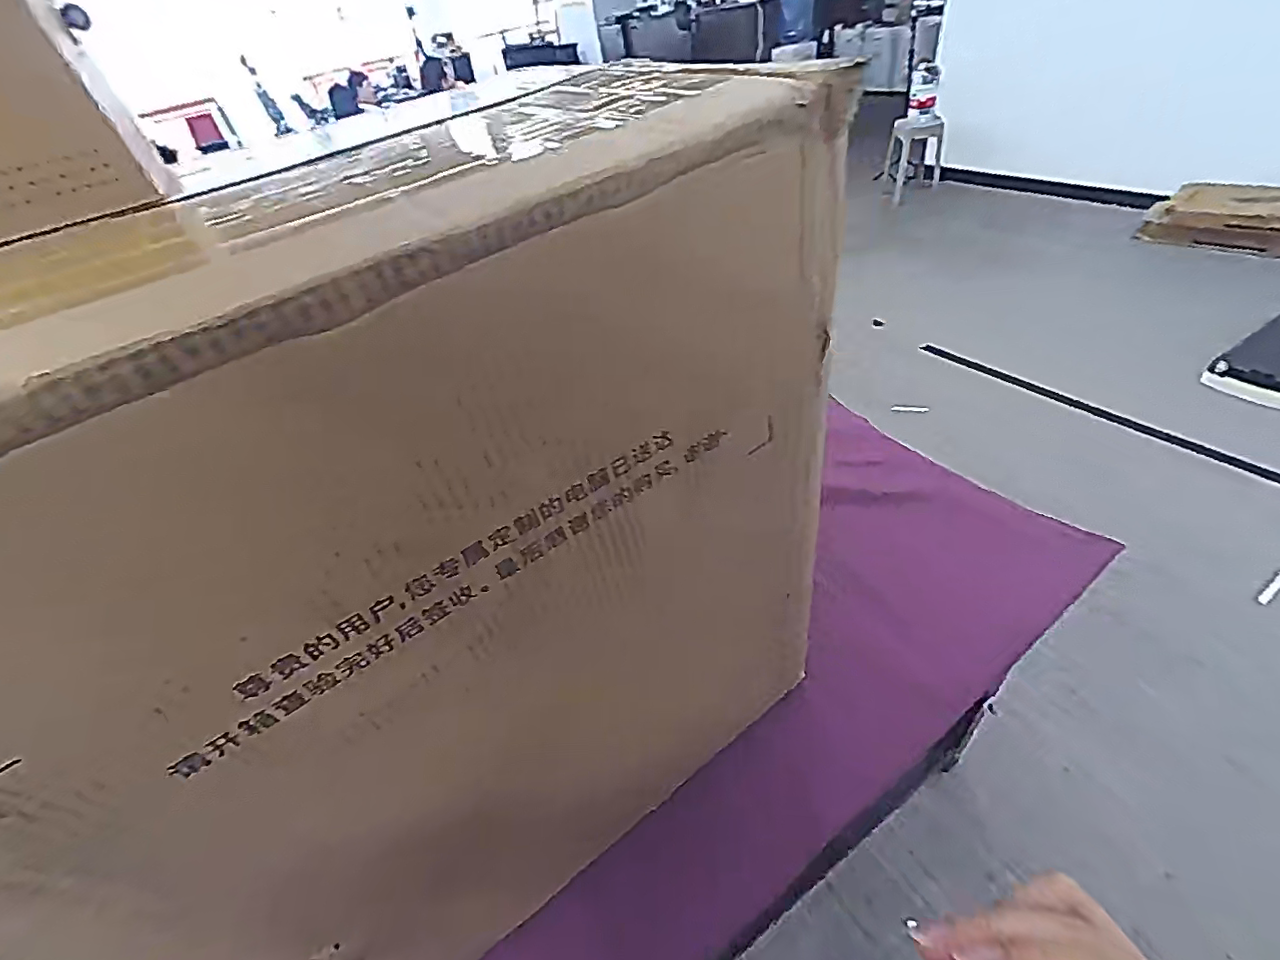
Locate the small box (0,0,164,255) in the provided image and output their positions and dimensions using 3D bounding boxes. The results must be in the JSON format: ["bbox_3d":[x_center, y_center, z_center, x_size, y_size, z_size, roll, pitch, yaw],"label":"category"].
[{"bbox_3d":[-0.382,-0.203,0.263,0.179,0.176,0.168,-31,44,-20],"label":"small box"}]
